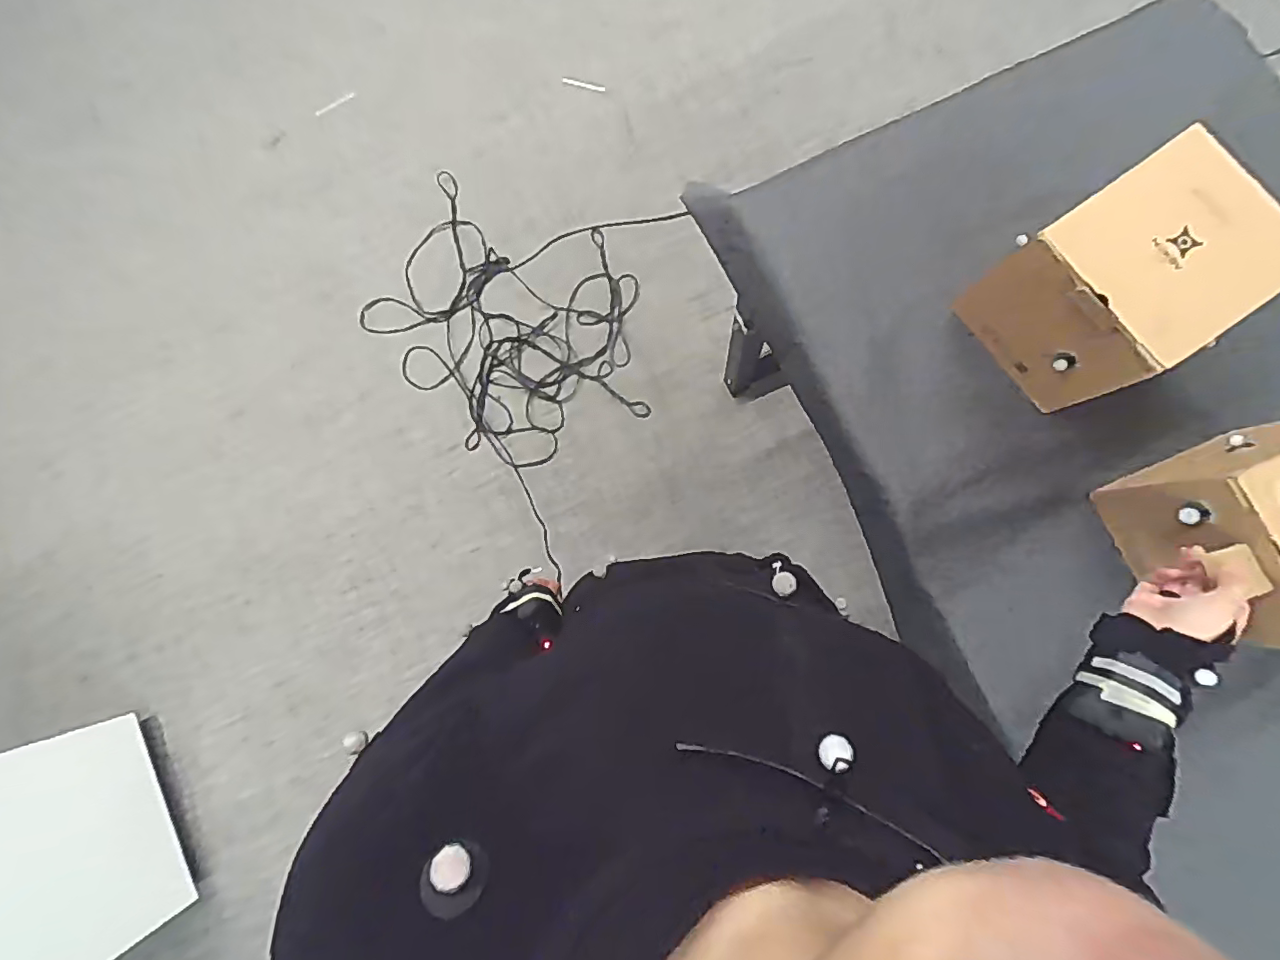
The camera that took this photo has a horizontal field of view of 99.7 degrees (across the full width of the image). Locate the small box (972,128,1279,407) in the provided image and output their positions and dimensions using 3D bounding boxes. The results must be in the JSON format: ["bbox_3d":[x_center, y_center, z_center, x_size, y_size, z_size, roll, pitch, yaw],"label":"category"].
[{"bbox_3d":[0.488,-0.200,0.562,0.179,0.176,0.168,-35,83,0],"label":"small box"}]
